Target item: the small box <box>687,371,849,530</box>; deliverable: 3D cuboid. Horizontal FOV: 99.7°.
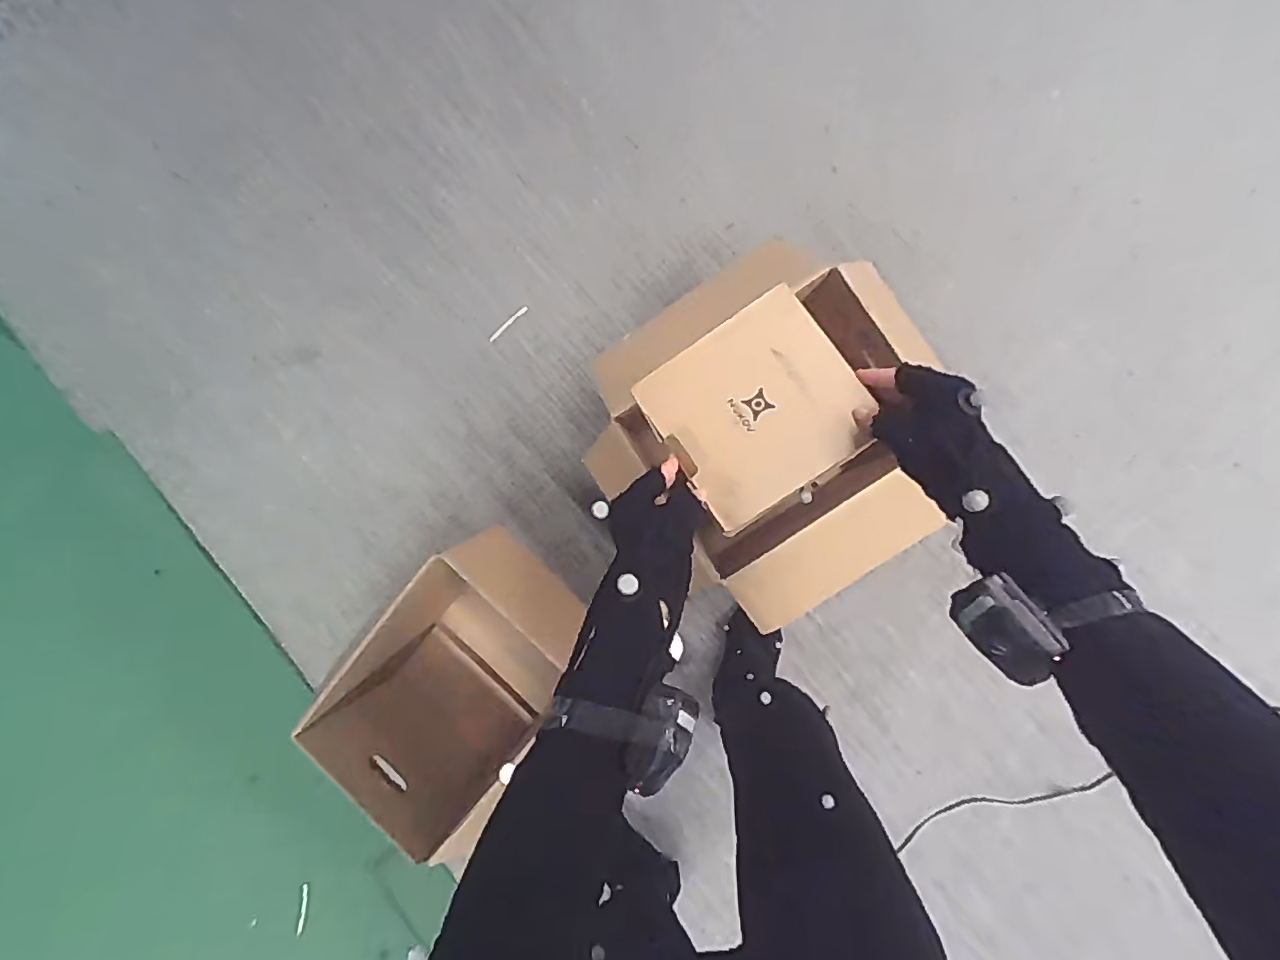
[{"bbox_3d":[0.190,-0.043,0.849,0.179,0.176,0.168,-35,85,7],"label":"small box"}]
